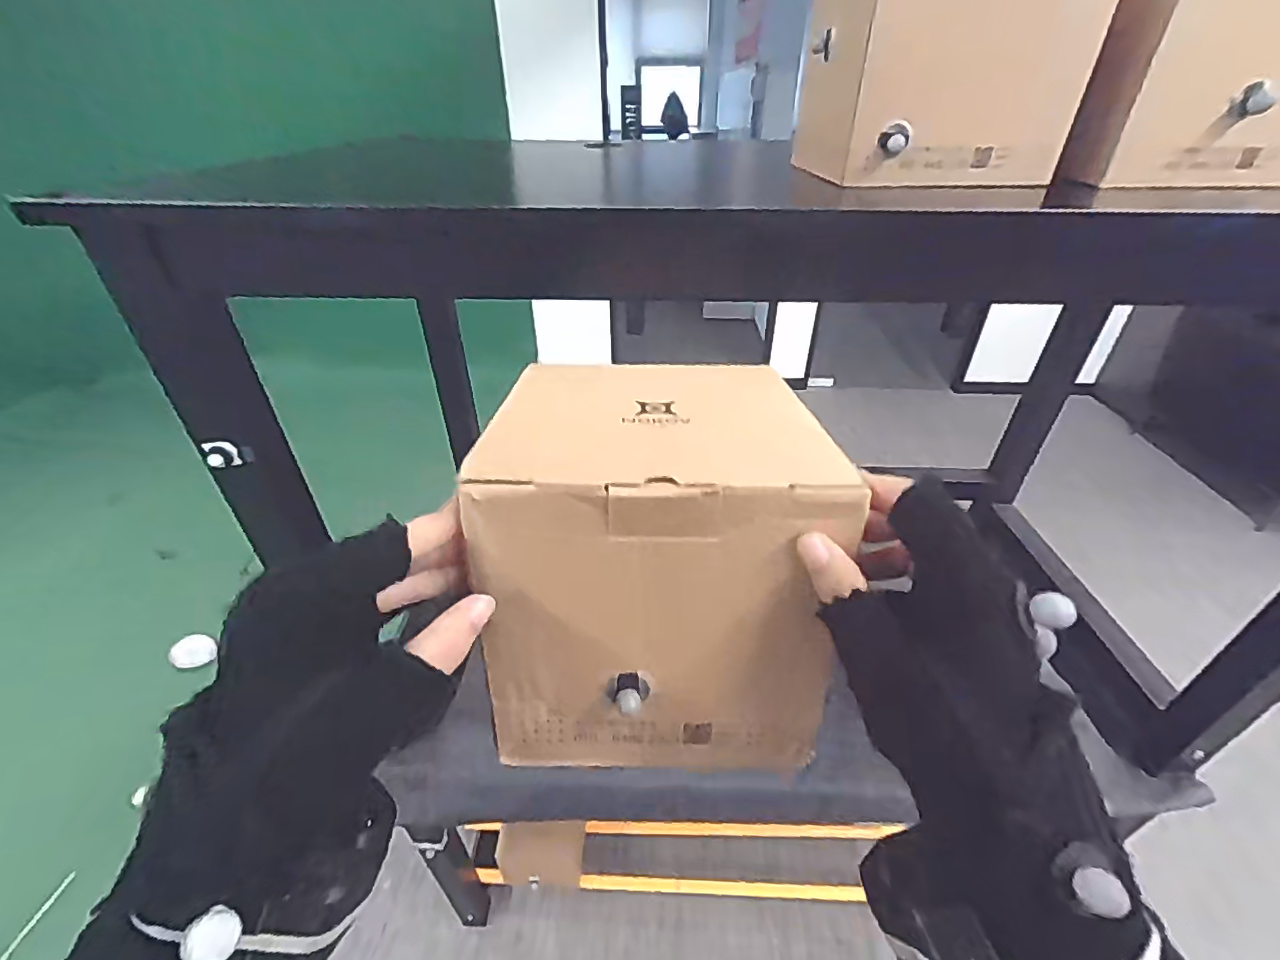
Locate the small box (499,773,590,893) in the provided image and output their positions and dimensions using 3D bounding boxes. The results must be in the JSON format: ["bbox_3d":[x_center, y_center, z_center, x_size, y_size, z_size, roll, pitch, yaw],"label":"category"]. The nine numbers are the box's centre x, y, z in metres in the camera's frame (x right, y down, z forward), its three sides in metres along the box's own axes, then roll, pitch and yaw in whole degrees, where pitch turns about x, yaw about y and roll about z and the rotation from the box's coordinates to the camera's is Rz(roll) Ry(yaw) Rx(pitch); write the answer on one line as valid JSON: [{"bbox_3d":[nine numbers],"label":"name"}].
[{"bbox_3d":[-0.204,0.785,1.207,0.168,0.176,0.179,1,37,2],"label":"small box"}]
